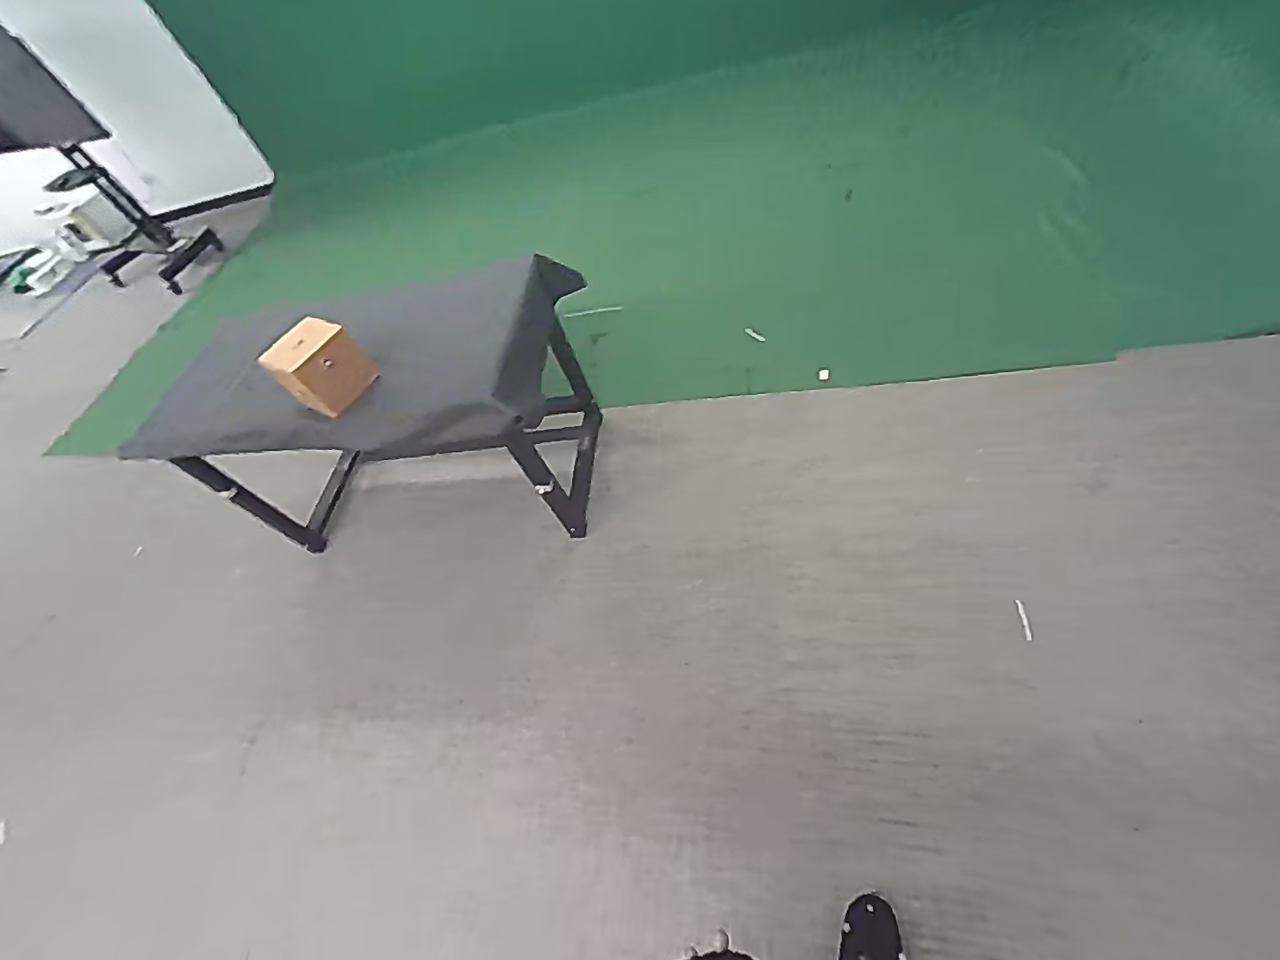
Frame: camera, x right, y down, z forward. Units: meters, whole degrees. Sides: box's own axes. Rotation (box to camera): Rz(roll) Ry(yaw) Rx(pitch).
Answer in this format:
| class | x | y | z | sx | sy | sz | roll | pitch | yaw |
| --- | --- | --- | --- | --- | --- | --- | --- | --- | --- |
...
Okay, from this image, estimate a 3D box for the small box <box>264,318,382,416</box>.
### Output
| class | x | y | z | sx | sy | sz | roll | pitch | yaw |
| --- | --- | --- | --- | --- | --- | --- | --- | --- | --- |
| small box | -0.830 | -0.295 | 1.431 | 0.168 | 0.176 | 0.179 | 20 | 62 | 28 |
